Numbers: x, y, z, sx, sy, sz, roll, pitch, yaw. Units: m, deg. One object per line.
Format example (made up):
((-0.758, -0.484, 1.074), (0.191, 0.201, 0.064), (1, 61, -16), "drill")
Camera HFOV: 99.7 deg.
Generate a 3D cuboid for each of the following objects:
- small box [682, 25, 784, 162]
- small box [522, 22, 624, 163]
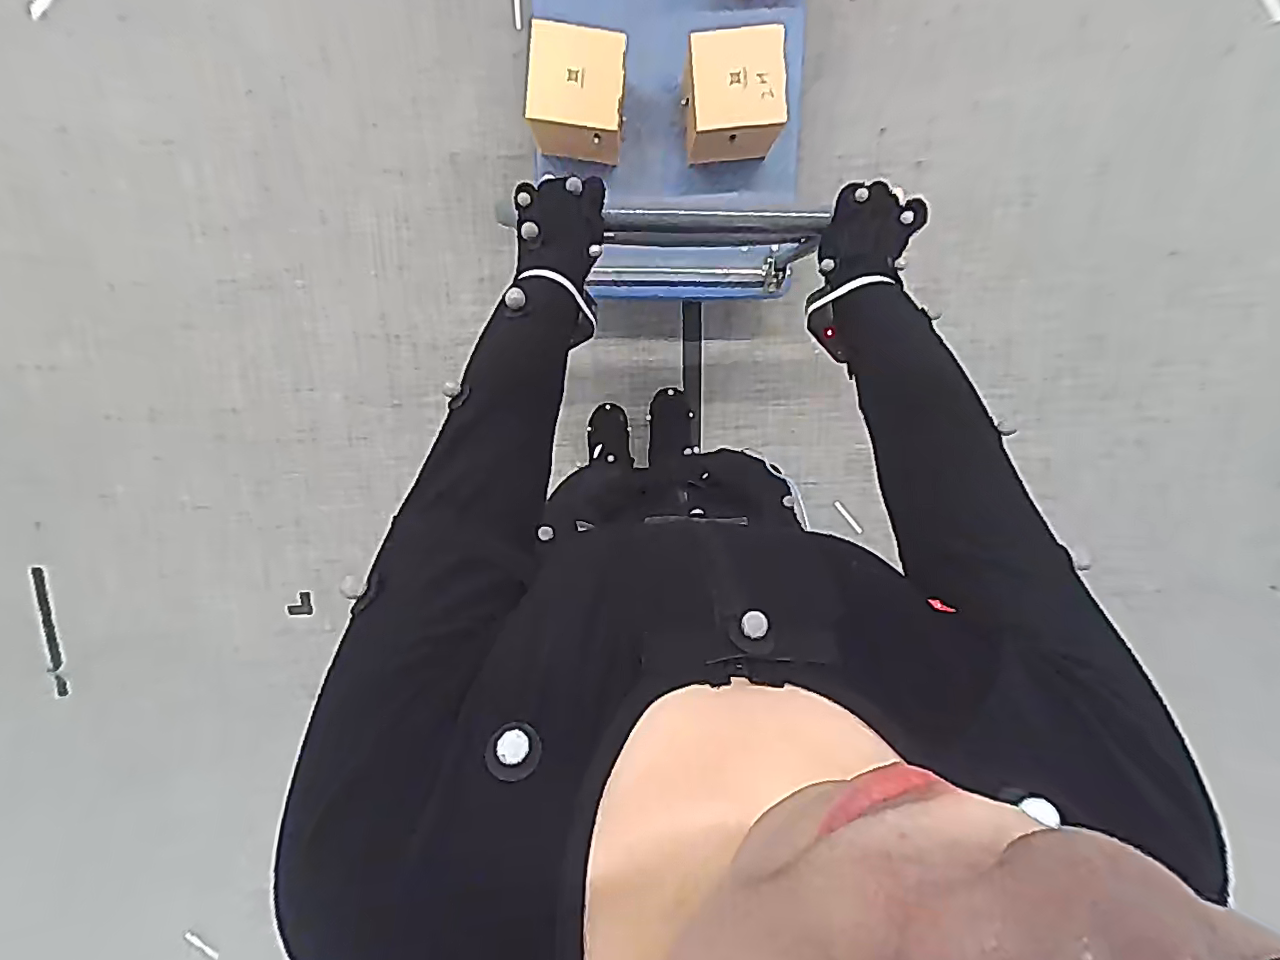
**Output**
((0.177, -0.756, 1.078), (0.179, 0.176, 0.168), (-6, 102, 0), "small box")
((-0.127, -0.755, 1.072), (0.179, 0.176, 0.168), (6, 101, -4), "small box")
